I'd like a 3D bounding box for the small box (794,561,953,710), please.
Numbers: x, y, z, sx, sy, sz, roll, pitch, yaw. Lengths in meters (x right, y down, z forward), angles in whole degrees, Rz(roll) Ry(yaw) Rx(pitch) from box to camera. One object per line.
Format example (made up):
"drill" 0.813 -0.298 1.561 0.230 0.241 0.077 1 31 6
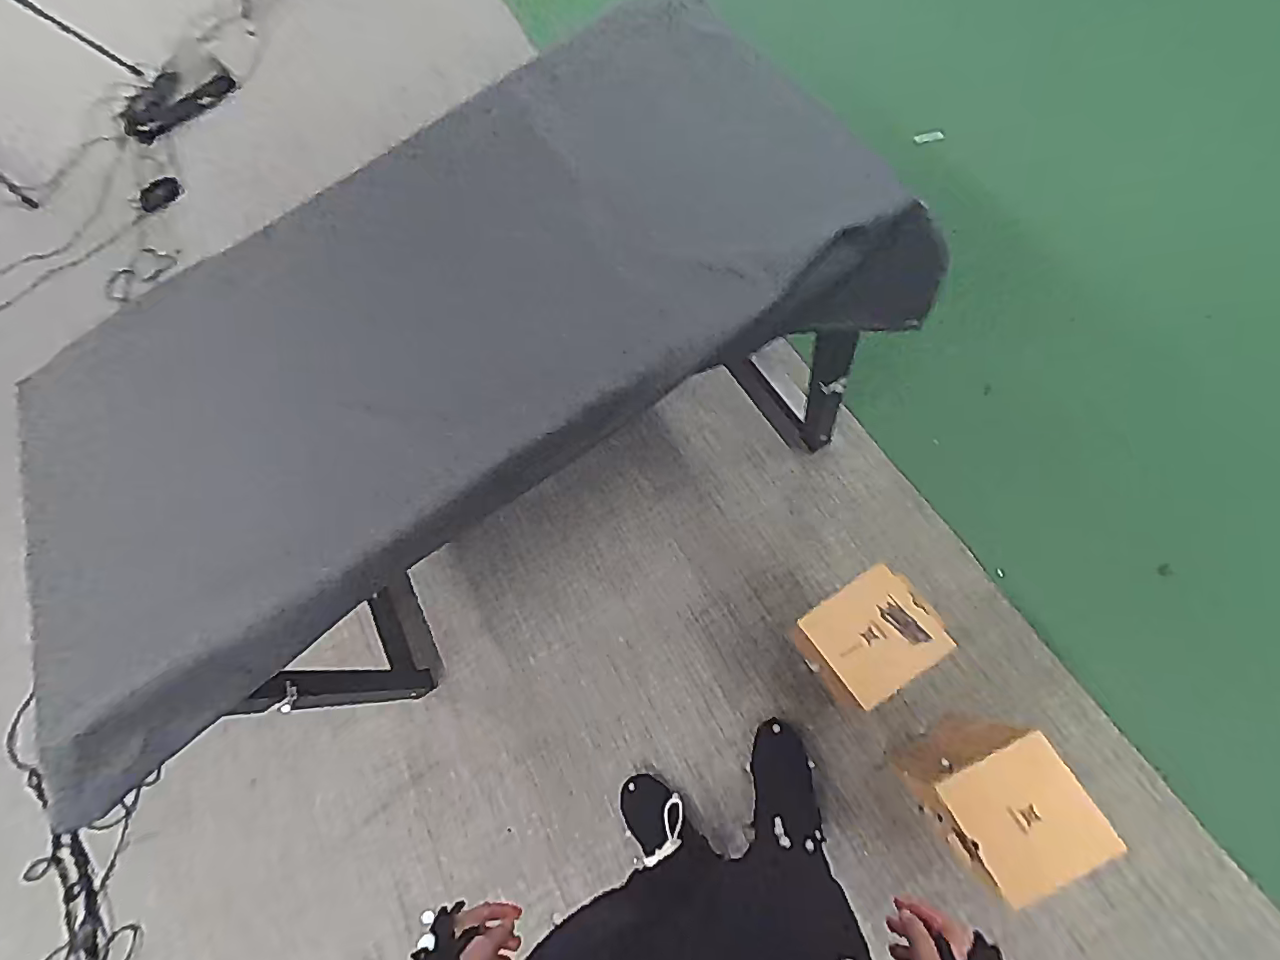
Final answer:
"small box" 0.381 0.265 0.924 0.179 0.176 0.168 -36 66 -1

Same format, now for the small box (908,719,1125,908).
"small box" 0.542 0.481 0.812 0.179 0.176 0.168 -30 68 1

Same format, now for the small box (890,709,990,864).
"small box" 0.573 0.532 0.963 0.179 0.176 0.168 -32 68 2

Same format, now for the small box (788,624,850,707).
"small box" 0.411 0.324 1.074 0.179 0.176 0.168 -36 66 0
